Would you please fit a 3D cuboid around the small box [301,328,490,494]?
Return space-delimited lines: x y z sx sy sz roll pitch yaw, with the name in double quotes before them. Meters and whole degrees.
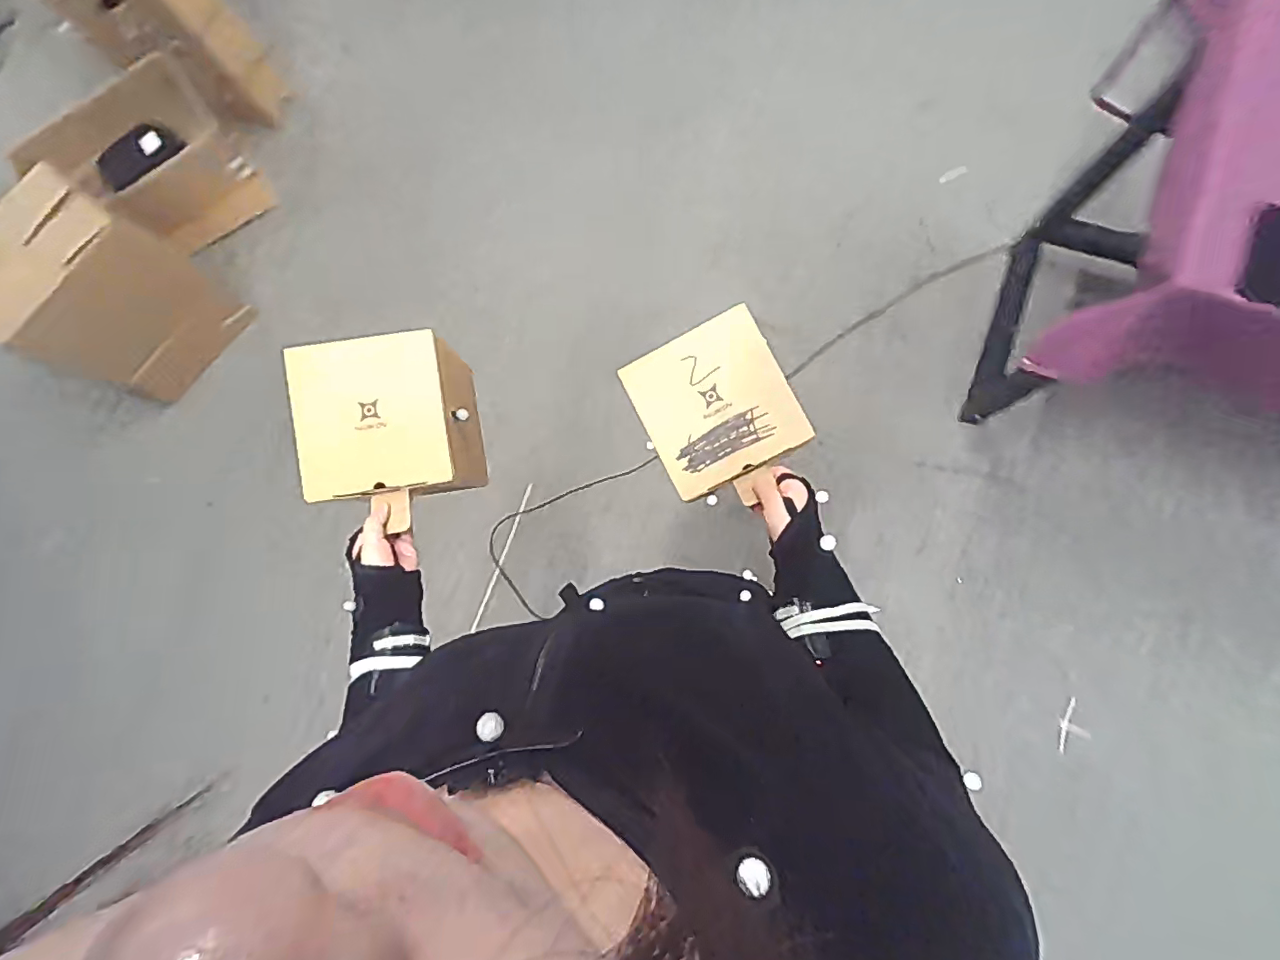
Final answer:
"small box" -0.298 -0.077 0.691 0.168 0.176 0.179 -7 89 -4
